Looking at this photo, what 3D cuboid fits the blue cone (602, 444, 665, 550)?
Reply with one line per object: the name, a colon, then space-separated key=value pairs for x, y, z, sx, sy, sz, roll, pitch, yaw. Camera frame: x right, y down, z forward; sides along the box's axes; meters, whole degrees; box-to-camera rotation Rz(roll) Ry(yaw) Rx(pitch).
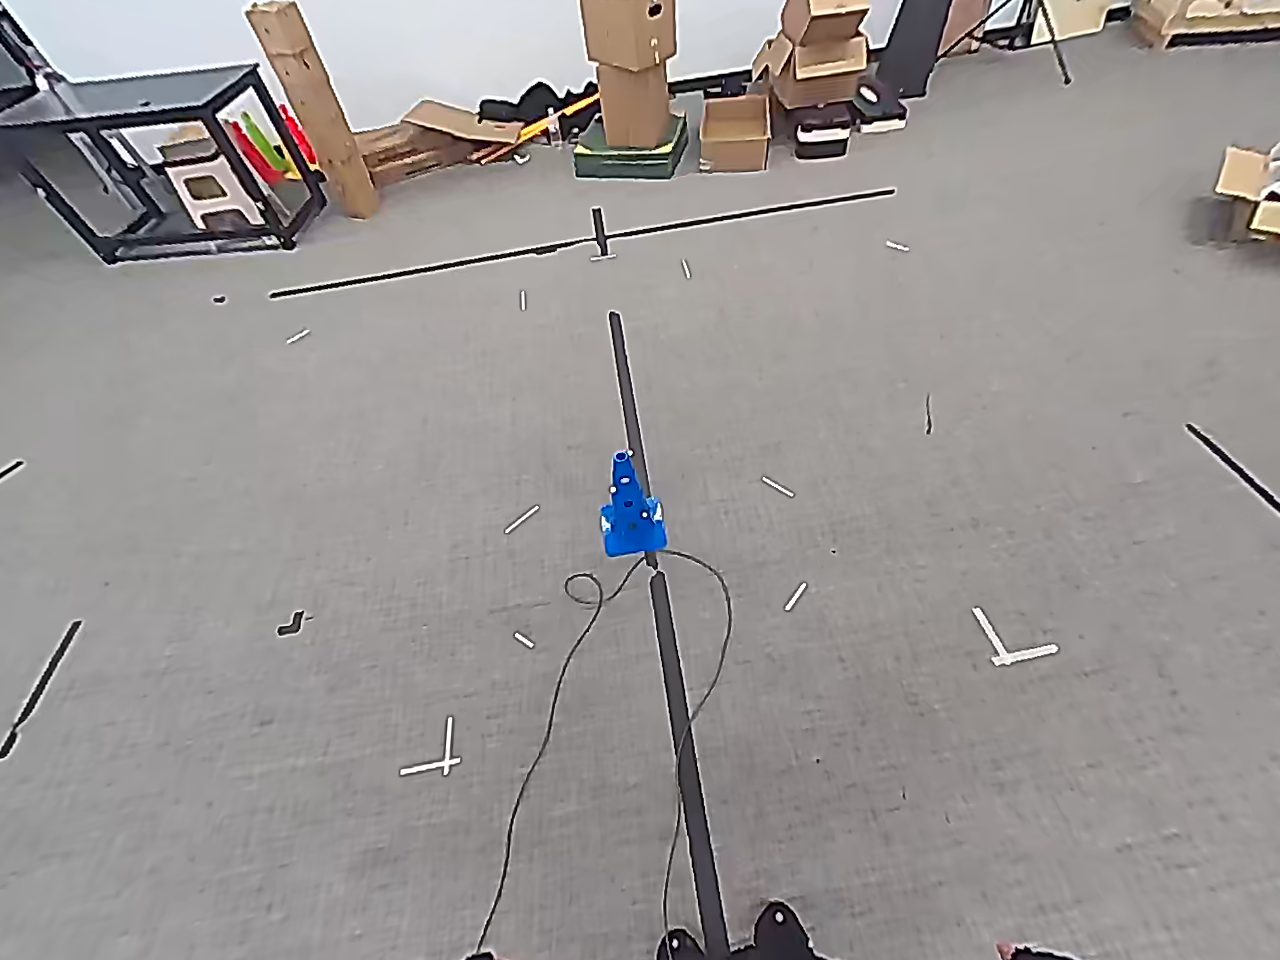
blue cone: x=-0.037 y=0.035 z=1.599 sx=0.193 sy=0.380 sz=0.192 roll=-11 pitch=53 yaw=-1
